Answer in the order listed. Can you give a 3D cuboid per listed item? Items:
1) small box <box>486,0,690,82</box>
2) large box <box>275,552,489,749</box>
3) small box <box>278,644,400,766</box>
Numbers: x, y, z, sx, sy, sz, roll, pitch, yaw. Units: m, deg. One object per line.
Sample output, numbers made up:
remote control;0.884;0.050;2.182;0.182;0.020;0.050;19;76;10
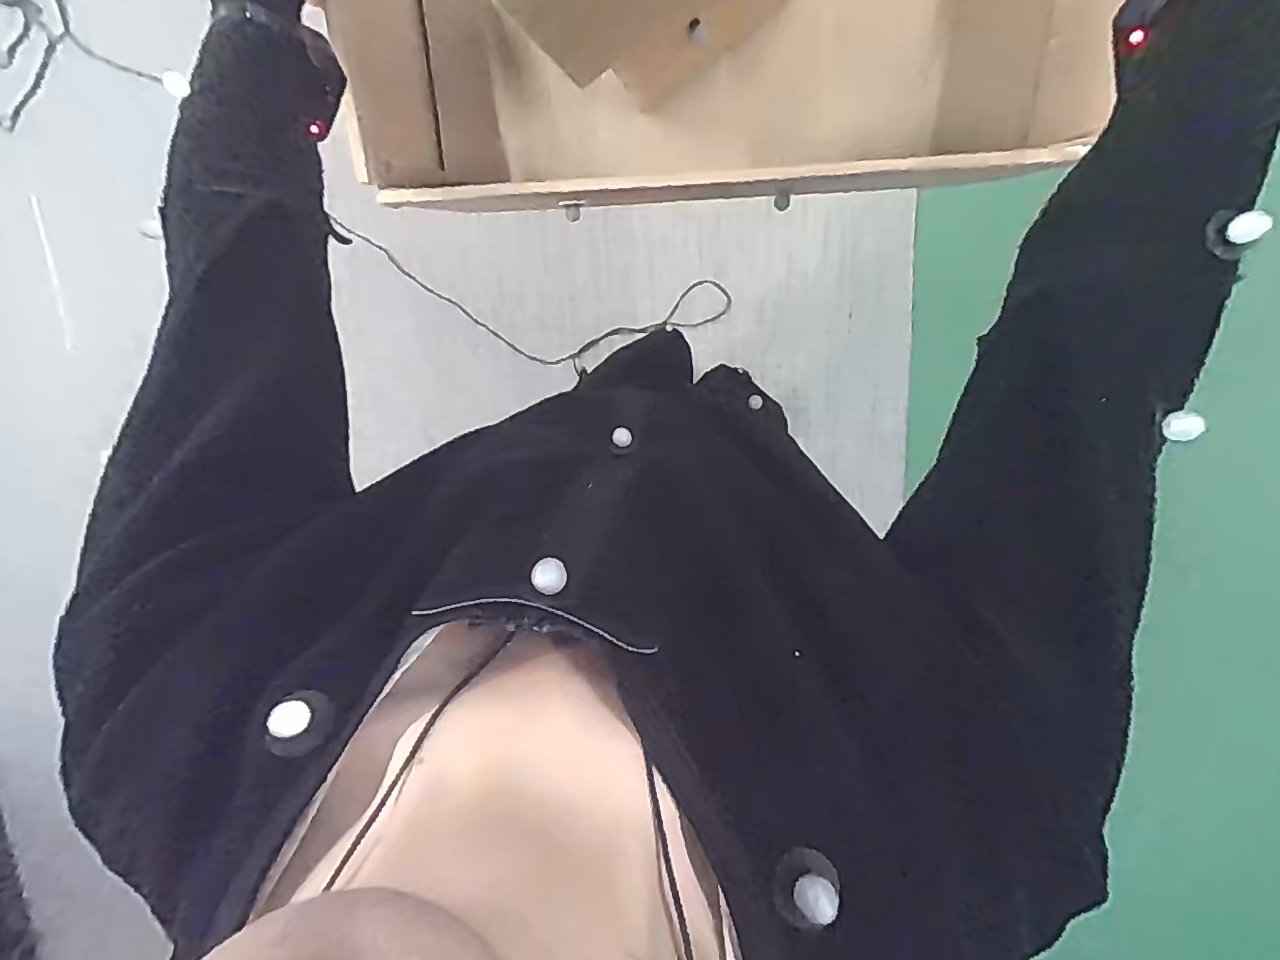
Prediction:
small box;-0.032;-0.368;0.290;0.179;0.176;0.168;-26;105;19
large box;-0.720;0.467;1.554;0.408;0.320;0.320;30;103;4
small box;-0.723;0.540;1.318;0.168;0.176;0.179;34;104;2
